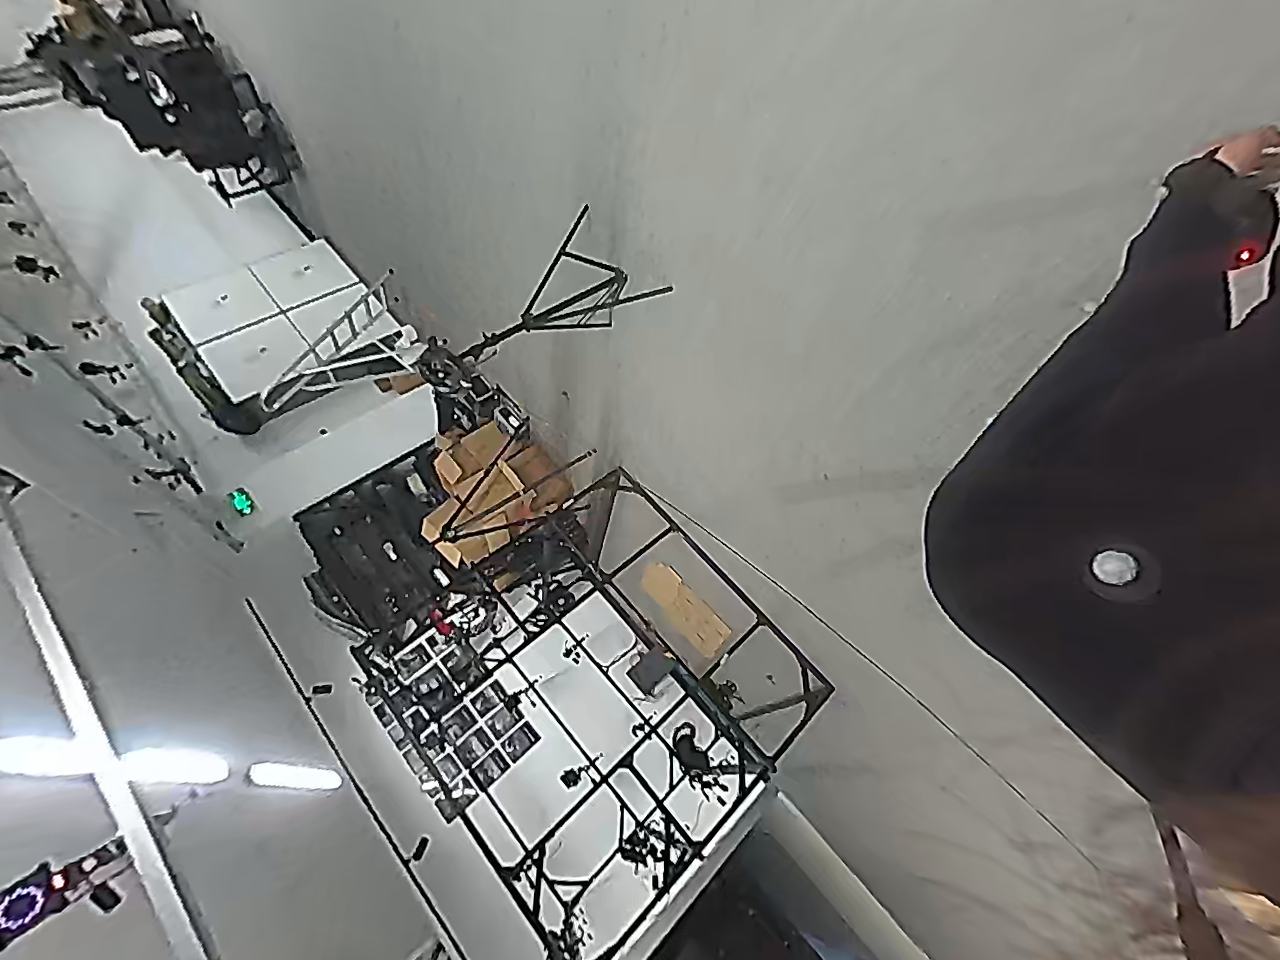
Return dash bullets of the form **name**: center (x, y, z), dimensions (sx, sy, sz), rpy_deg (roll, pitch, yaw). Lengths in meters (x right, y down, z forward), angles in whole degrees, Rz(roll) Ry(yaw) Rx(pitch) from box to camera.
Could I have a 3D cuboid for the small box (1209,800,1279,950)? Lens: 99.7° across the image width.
- **small box**: center (1.024, 0.606, 0.795), dimensions (0.168, 0.176, 0.179), rpy_deg (47, 155, 12)
